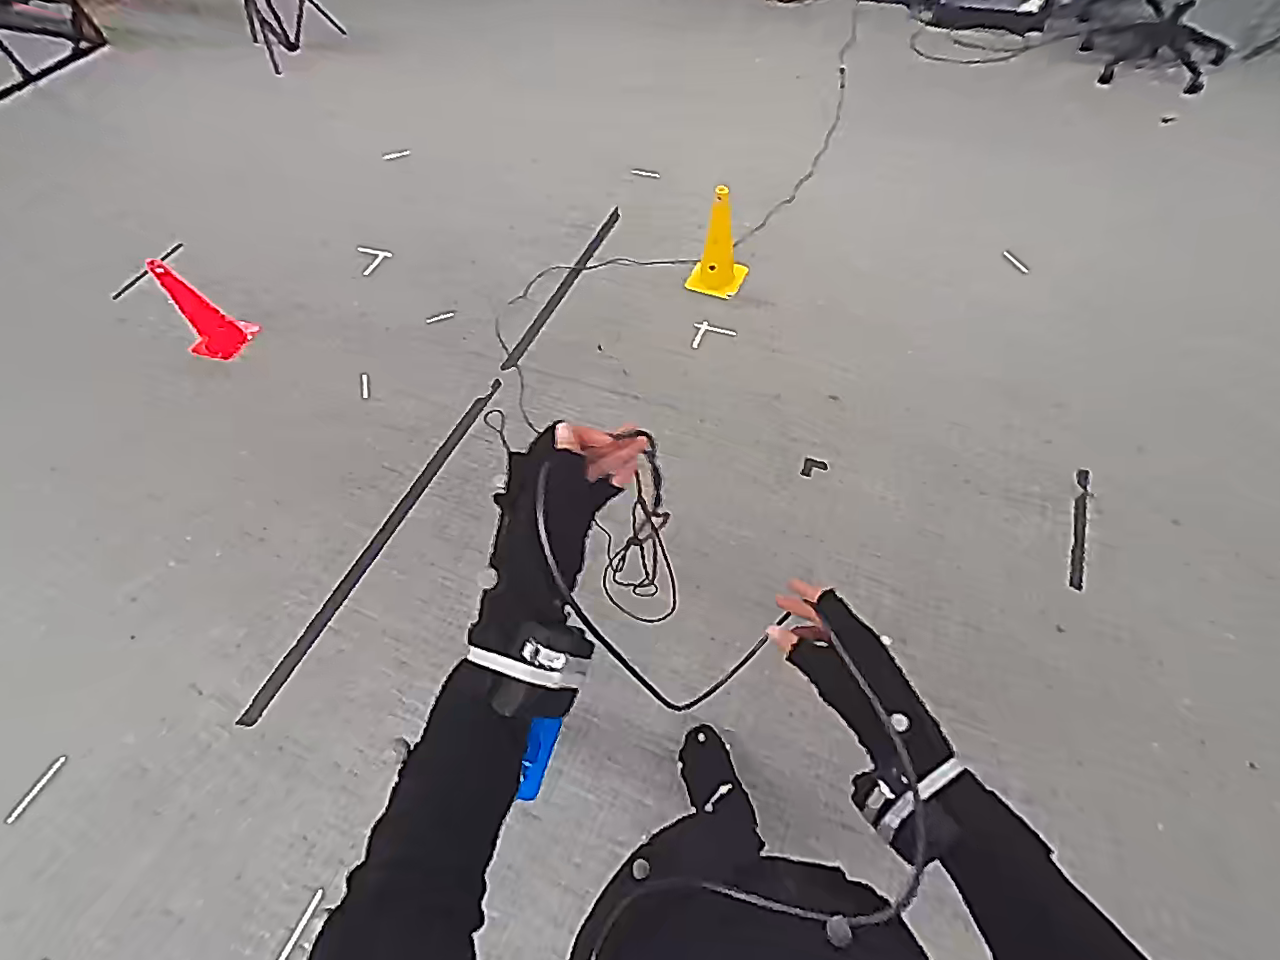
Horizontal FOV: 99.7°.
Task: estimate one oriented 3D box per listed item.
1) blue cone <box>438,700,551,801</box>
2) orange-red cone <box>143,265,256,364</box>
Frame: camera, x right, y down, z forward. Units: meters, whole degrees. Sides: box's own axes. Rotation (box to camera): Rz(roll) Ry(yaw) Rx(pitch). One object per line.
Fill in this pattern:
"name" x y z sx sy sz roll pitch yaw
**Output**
"blue cone" -0.331 0.558 1.151 0.192 0.380 0.193 13 61 13
"orange-red cone" -1.653 -0.625 1.980 0.198 0.360 0.199 13 62 13
